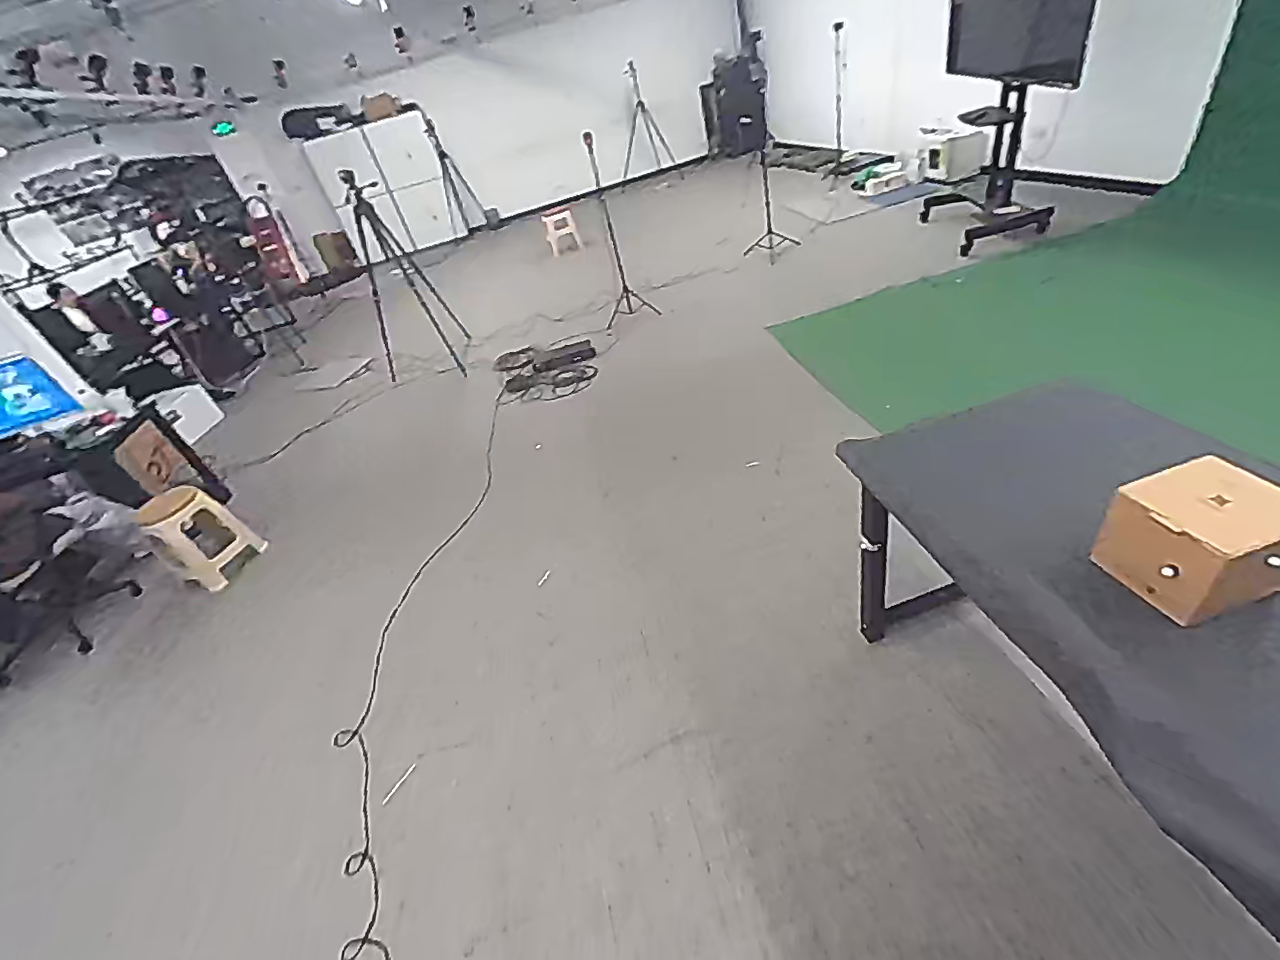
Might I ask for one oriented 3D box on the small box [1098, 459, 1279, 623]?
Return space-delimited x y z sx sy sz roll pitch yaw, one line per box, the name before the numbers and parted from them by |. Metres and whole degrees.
small box | 0.888 0.099 0.866 0.179 0.176 0.168 -18 38 -4
